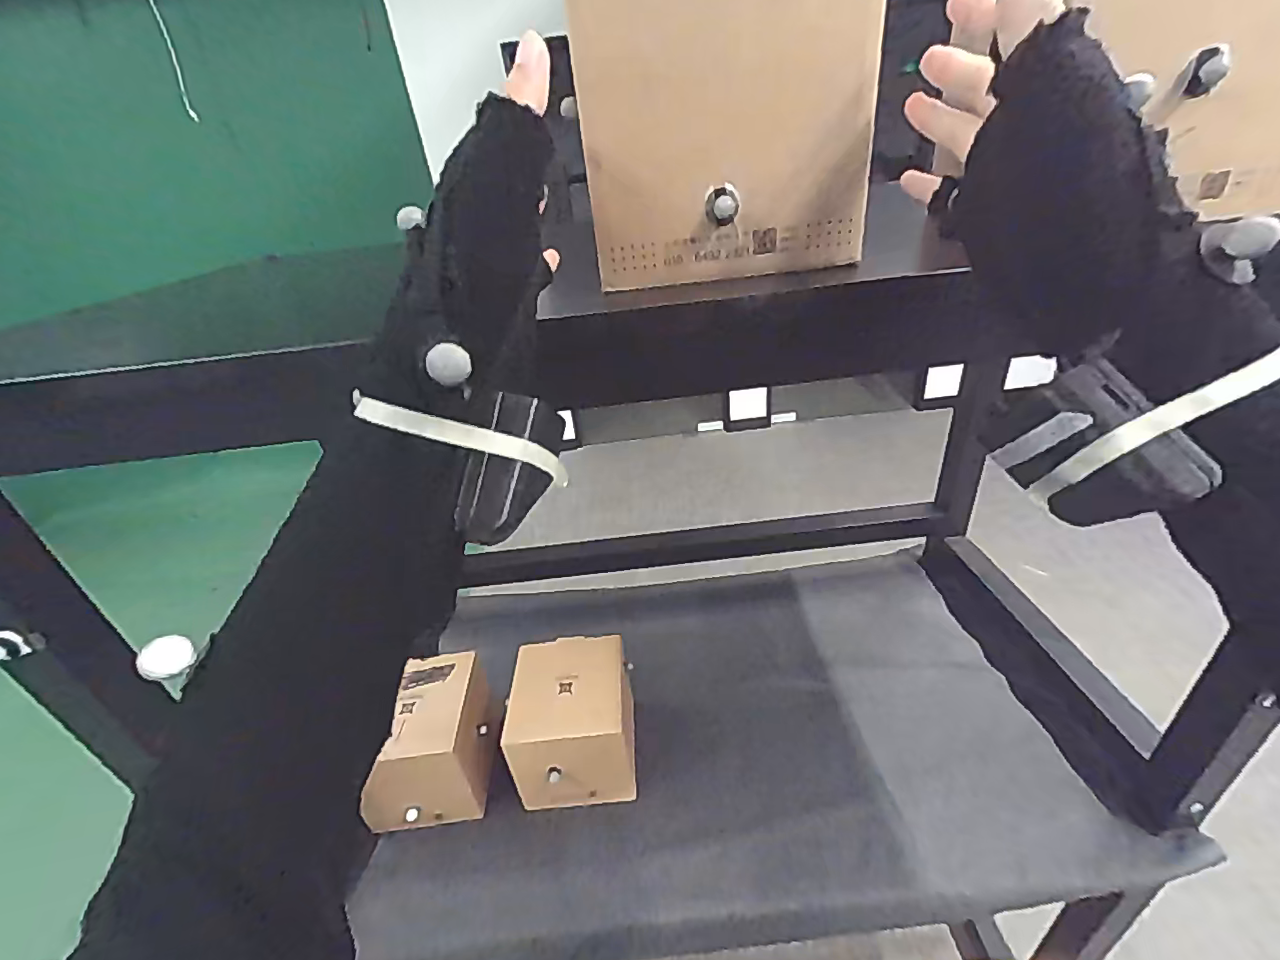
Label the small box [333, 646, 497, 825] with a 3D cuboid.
[{"bbox_3d":[-0.325,0.386,0.826,0.168,0.176,0.179,-8,31,-1],"label":"small box"}]

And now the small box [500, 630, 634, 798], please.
[{"bbox_3d":[-0.100,0.360,0.828,0.168,0.176,0.179,-6,30,1],"label":"small box"}]

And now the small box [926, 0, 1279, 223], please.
[{"bbox_3d":[0.318,-0.278,0.369,0.168,0.176,0.179,-2,30,9],"label":"small box"}]
